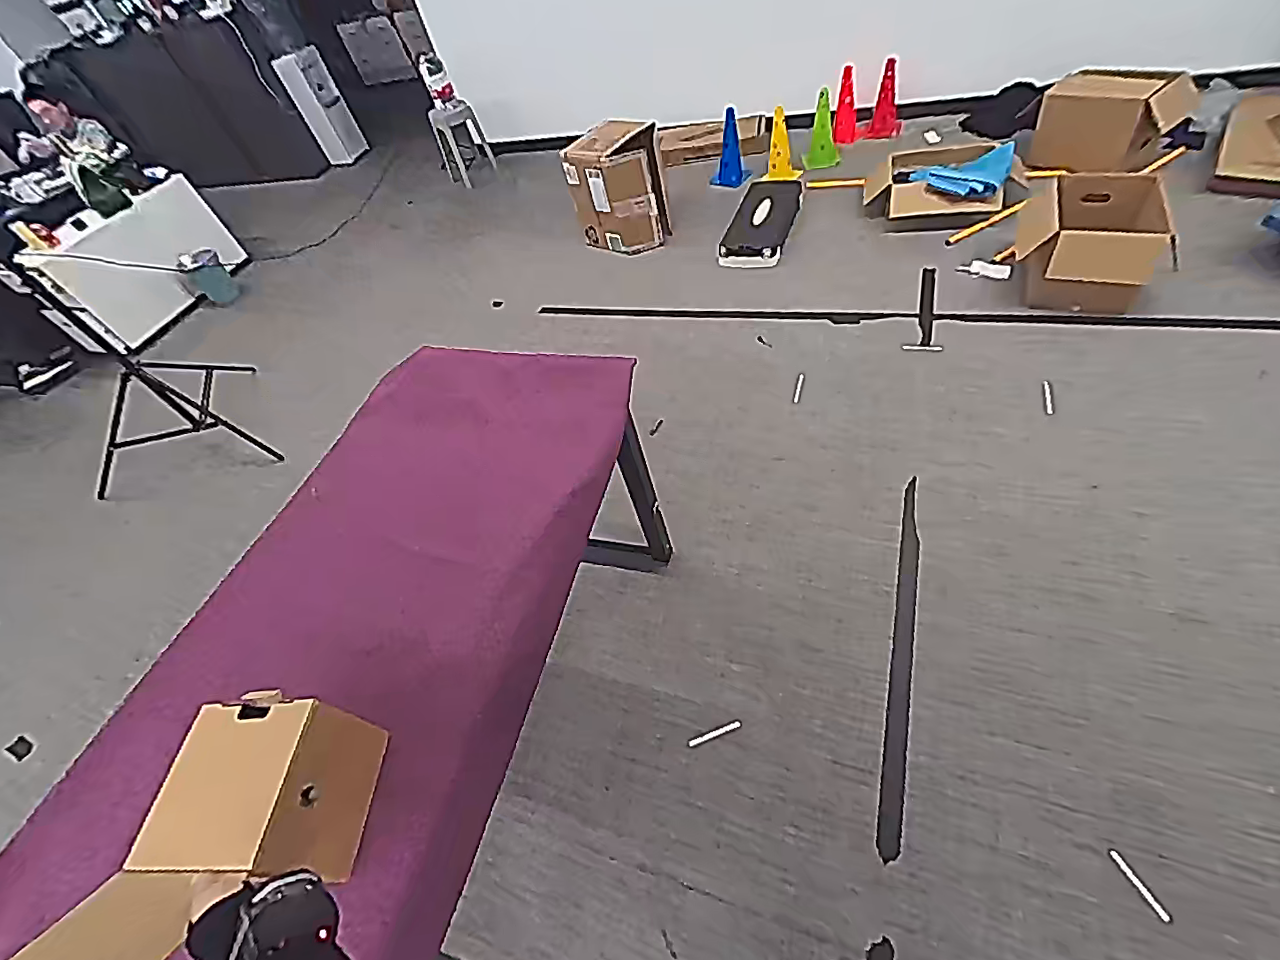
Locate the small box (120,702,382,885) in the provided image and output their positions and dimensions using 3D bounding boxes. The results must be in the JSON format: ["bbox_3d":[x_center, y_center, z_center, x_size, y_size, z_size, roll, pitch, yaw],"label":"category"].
[{"bbox_3d":[-0.456,0.392,0.672,0.168,0.176,0.179,-6,50,9],"label":"small box"}]
